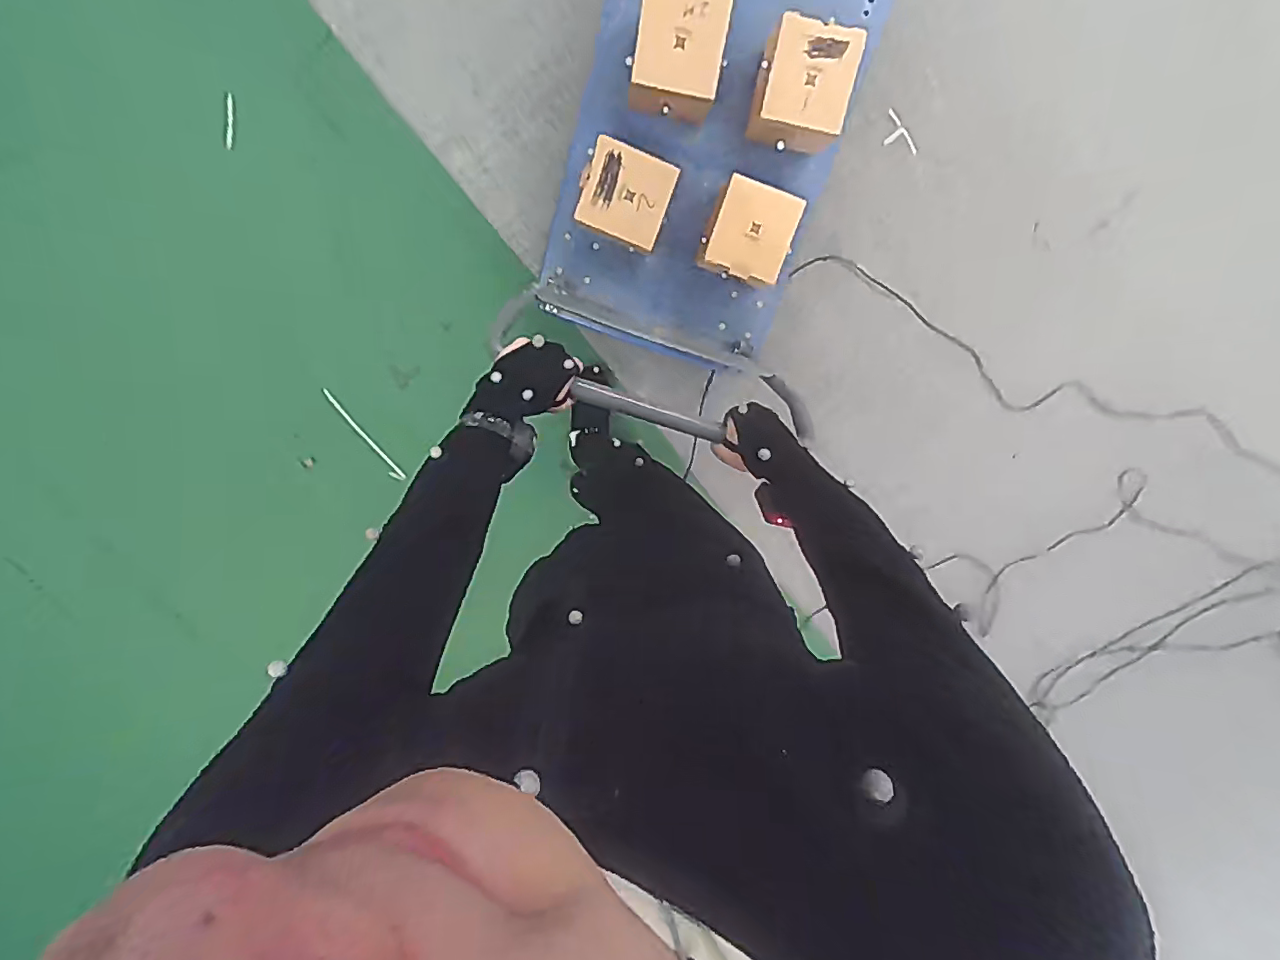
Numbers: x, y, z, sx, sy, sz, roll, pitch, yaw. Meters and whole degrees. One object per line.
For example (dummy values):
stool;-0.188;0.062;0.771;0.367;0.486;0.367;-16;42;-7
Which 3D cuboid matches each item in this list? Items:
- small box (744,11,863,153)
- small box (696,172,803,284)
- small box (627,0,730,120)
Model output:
small box;0.324;-0.806;1.114;0.168;0.176;0.179;10;110;-5
small box;0.232;-0.550;1.204;0.168;0.176;0.179;17;109;-7
small box;0.070;-0.856;1.088;0.168;0.176;0.179;9;109;-6
